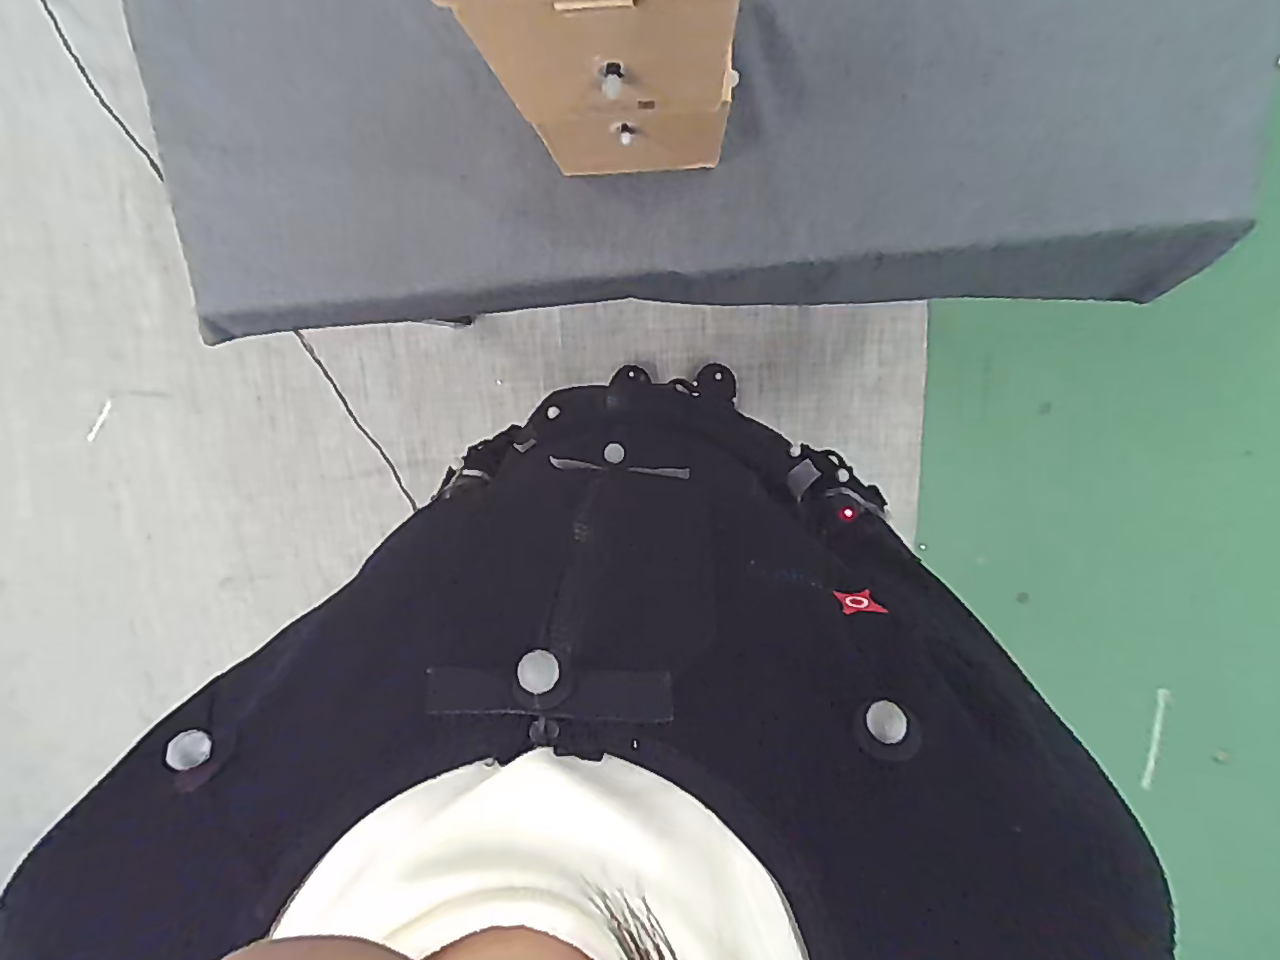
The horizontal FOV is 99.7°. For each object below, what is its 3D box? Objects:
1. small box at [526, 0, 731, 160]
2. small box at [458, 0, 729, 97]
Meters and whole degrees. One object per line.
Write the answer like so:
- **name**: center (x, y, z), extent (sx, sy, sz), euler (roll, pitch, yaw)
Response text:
- **small box**: center (-0.007, -0.425, 0.518), extent (0.179, 0.176, 0.168), euler (-1, 104, 4)
- **small box**: center (-0.023, -0.383, 0.360), extent (0.168, 0.176, 0.179), euler (-1, 105, 4)
